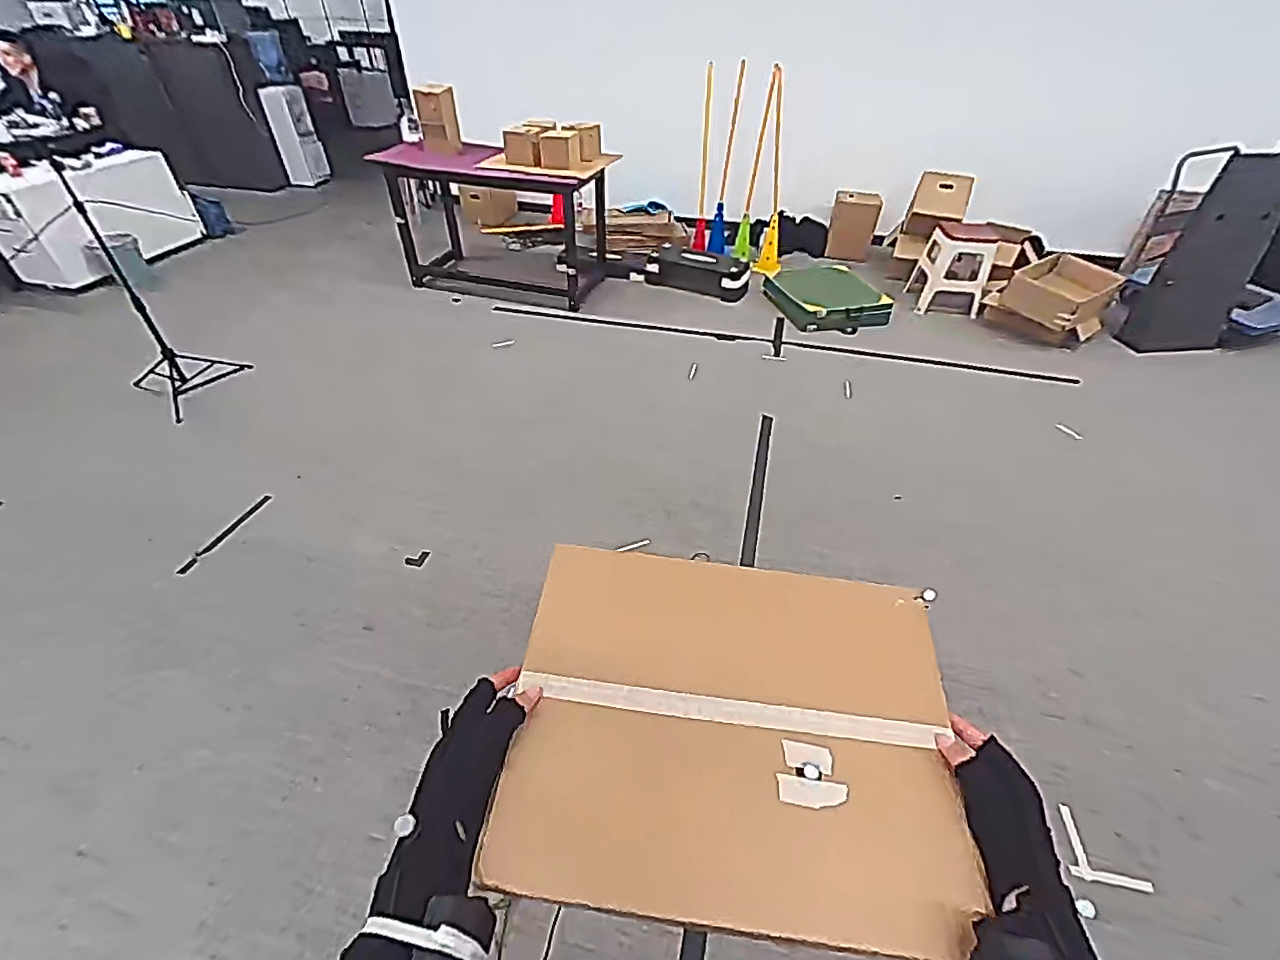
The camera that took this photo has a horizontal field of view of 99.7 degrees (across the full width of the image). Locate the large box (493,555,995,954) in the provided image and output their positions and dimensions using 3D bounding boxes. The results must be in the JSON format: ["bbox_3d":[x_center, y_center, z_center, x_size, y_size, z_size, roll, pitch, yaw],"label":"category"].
[{"bbox_3d":[0.086,0.316,0.628,0.408,0.320,0.320,7,52,2],"label":"large box"}]
